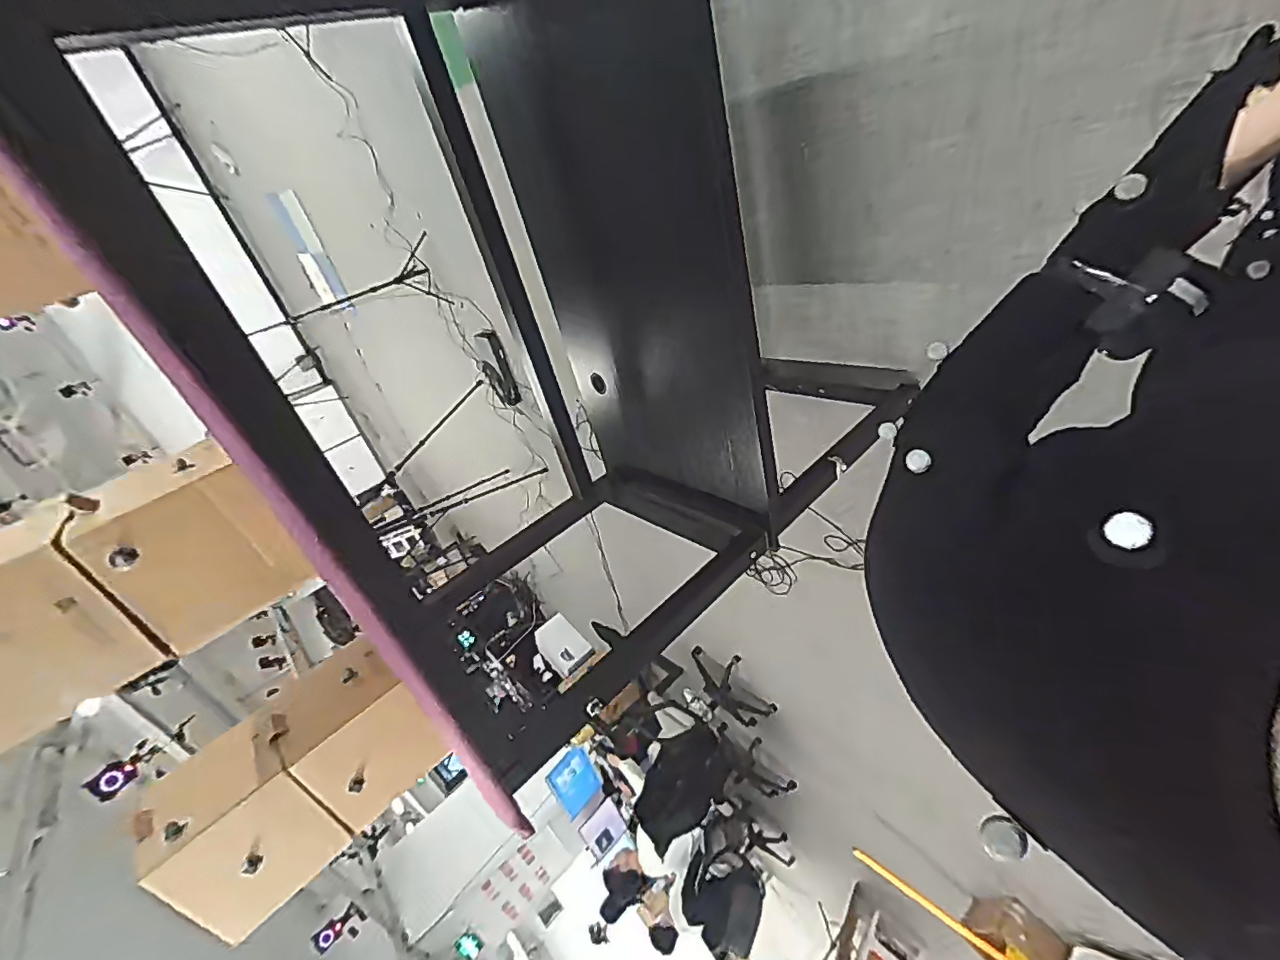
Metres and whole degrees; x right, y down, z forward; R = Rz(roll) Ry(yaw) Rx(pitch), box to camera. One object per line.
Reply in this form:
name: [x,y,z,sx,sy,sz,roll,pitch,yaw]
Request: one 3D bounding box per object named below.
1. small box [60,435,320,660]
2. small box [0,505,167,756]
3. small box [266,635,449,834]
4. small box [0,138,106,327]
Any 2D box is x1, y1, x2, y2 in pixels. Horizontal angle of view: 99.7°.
small box: [-0.524,0.071,0.656,0.168,0.176,0.179,22,138,47]
small box: [-0.644,0.148,0.577,0.179,0.176,0.168,21,135,49]
small box: [-0.422,0.376,0.824,0.168,0.176,0.179,19,135,45]
small box: [-0.621,-0.225,0.471,0.179,0.176,0.168,29,144,42]
